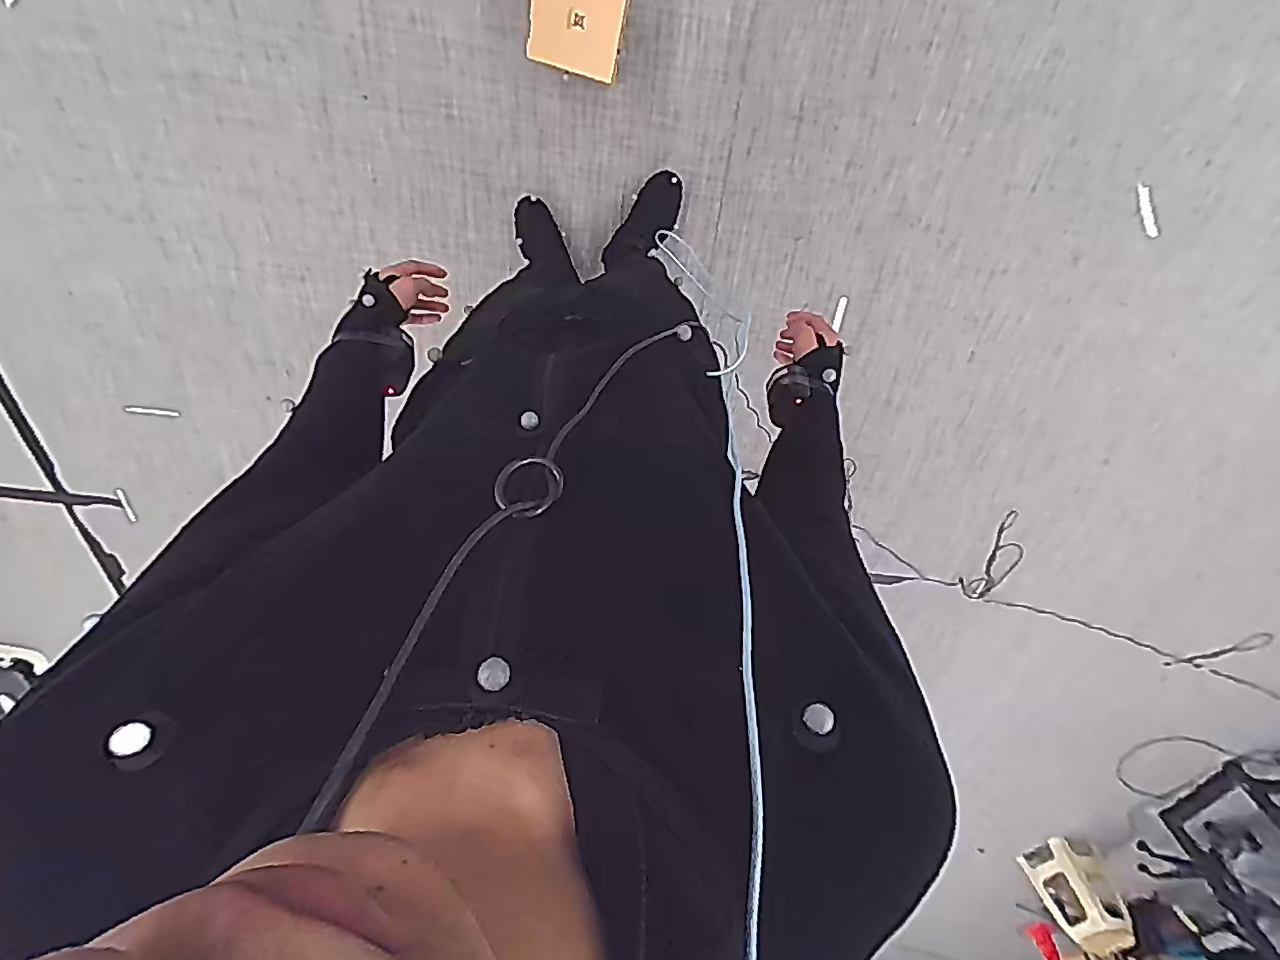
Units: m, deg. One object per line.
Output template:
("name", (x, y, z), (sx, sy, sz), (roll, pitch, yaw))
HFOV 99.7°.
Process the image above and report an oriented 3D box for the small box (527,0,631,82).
("small box", (-0.119, -0.935, 1.101), (0.179, 0.176, 0.168), (12, 124, -8))
